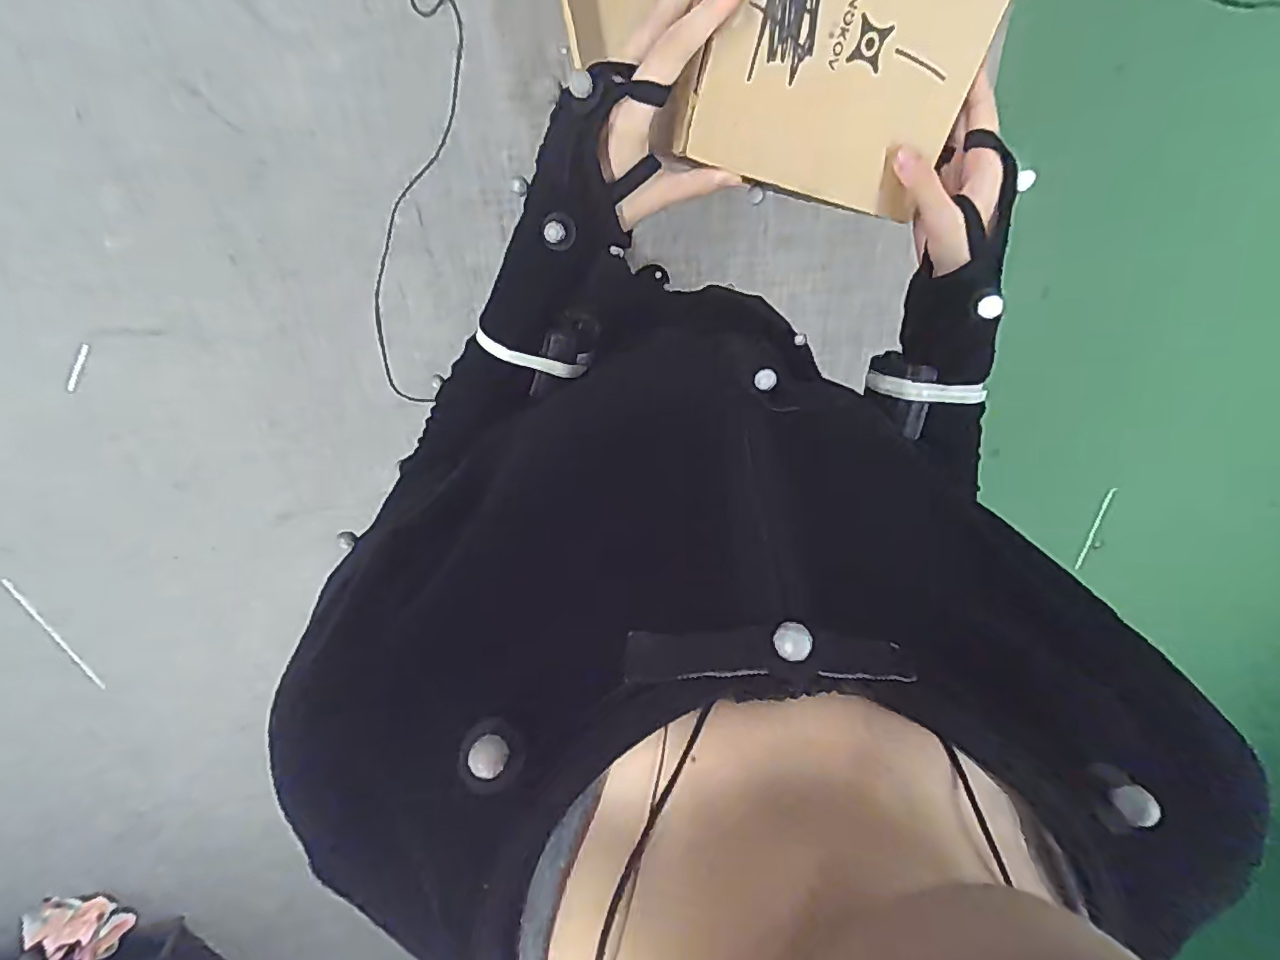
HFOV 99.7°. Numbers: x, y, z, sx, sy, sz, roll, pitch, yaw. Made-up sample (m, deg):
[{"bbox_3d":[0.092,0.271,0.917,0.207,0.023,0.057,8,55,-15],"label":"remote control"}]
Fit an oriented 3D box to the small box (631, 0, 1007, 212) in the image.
[{"bbox_3d":[0.105,-0.300,0.369,0.179,0.176,0.168,5,120,-20],"label":"small box"}]
